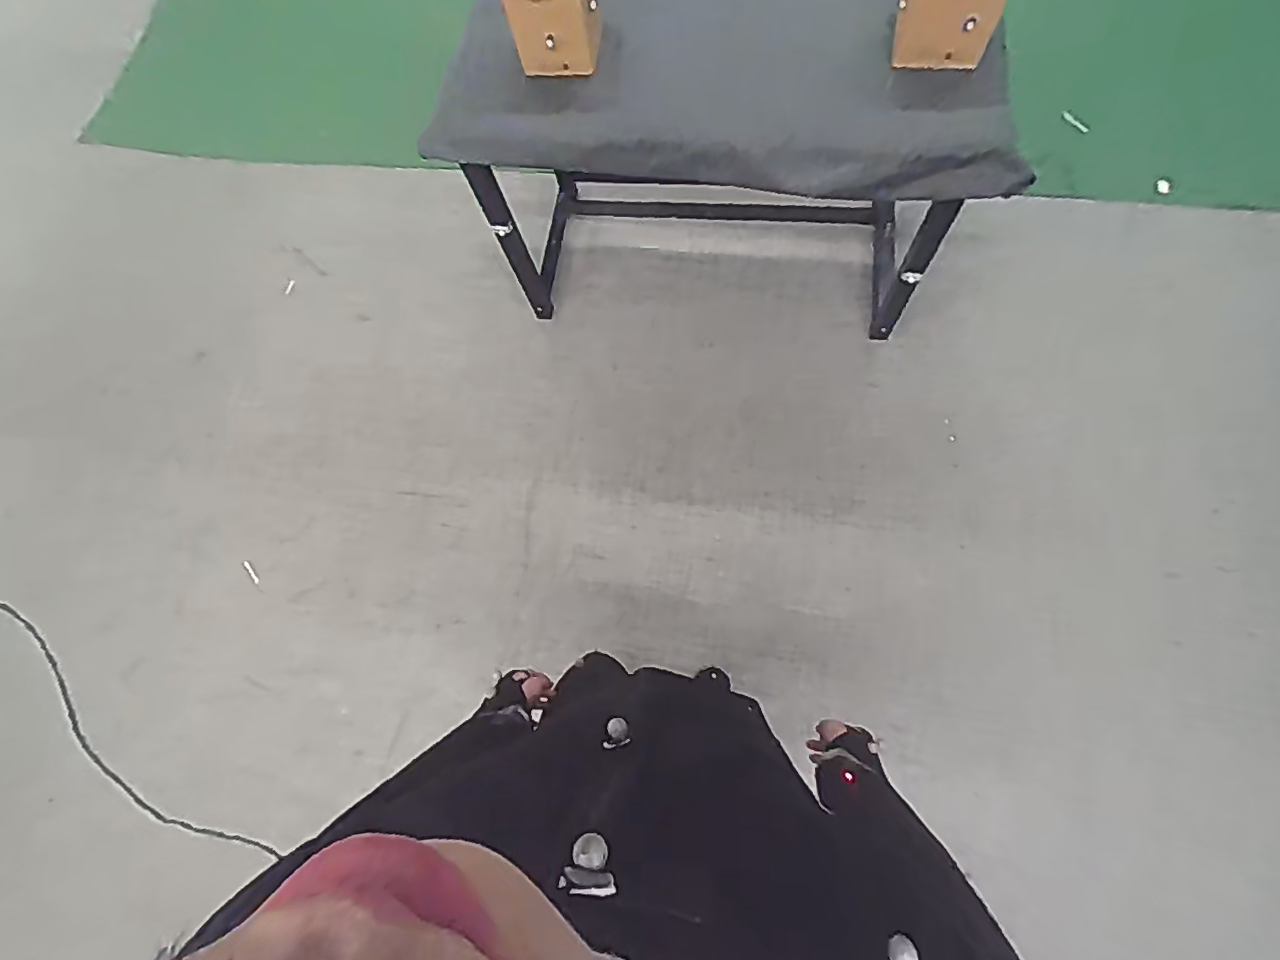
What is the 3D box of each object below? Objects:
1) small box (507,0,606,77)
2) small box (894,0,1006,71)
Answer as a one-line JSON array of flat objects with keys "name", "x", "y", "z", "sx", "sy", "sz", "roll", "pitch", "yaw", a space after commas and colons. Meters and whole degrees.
[{"name": "small box", "x": -0.176, "y": -1.032, "z": 1.198, "sx": 0.168, "sy": 0.176, "sz": 0.179, "roll": 5, "pitch": 73, "yaw": 8}, {"name": "small box", "x": 0.619, "y": -0.954, "z": 1.073, "sx": 0.168, "sy": 0.176, "sz": 0.179, "roll": 10, "pitch": 73, "yaw": 9}]
